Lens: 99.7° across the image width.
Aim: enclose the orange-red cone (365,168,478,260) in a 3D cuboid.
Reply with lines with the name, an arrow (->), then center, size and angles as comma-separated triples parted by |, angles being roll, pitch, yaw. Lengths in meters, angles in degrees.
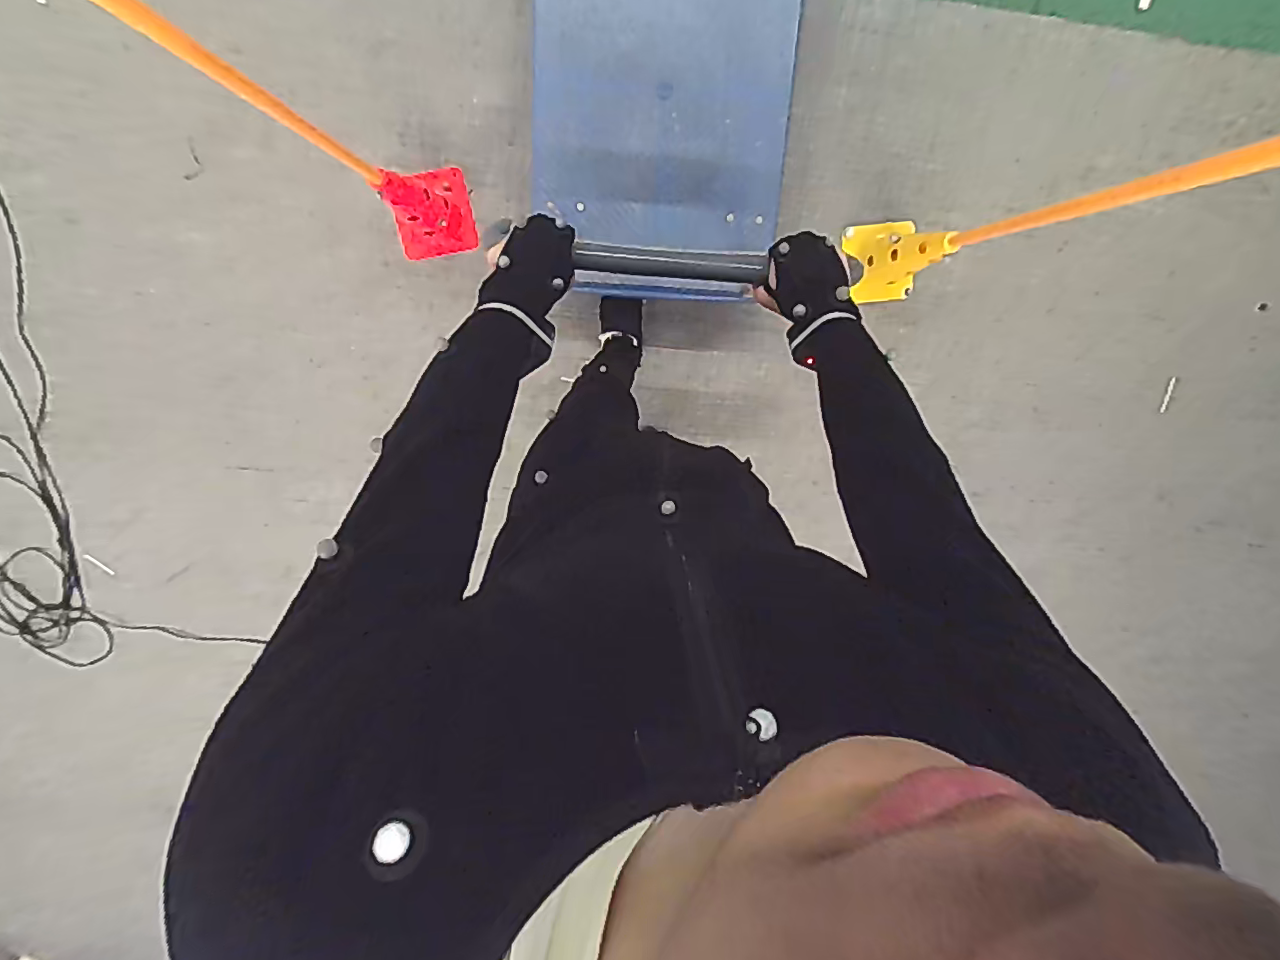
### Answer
orange-red cone -> -0.526, -0.635, 1.226 | 0.199, 0.360, 0.198 | -9, 105, 2
